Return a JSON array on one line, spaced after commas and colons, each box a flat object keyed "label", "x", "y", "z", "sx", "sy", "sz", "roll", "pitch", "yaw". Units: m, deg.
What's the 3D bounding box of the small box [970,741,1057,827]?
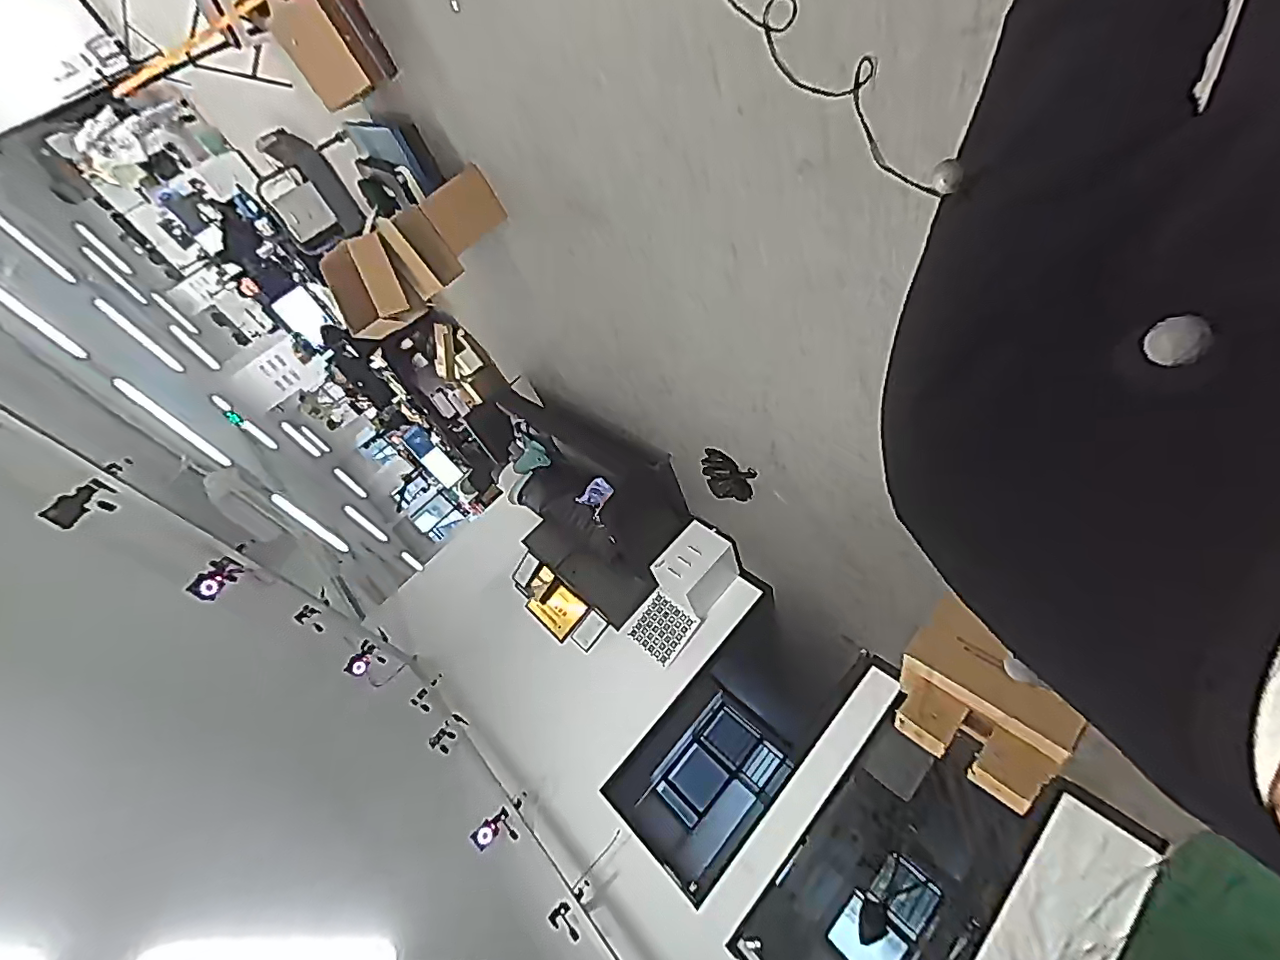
[{"label": "small box", "x": 1.236, "y": 0.999, "z": 1.795, "sx": 0.179, "sy": 0.176, "sz": 0.168, "roll": 28, "pitch": 153, "yaw": 40}]

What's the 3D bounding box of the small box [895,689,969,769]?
[{"label": "small box", "x": 1.059, "y": 0.899, "z": 1.962, "sx": 0.179, "sy": 0.176, "sz": 0.168, "roll": 30, "pitch": 153, "yaw": 38}]
